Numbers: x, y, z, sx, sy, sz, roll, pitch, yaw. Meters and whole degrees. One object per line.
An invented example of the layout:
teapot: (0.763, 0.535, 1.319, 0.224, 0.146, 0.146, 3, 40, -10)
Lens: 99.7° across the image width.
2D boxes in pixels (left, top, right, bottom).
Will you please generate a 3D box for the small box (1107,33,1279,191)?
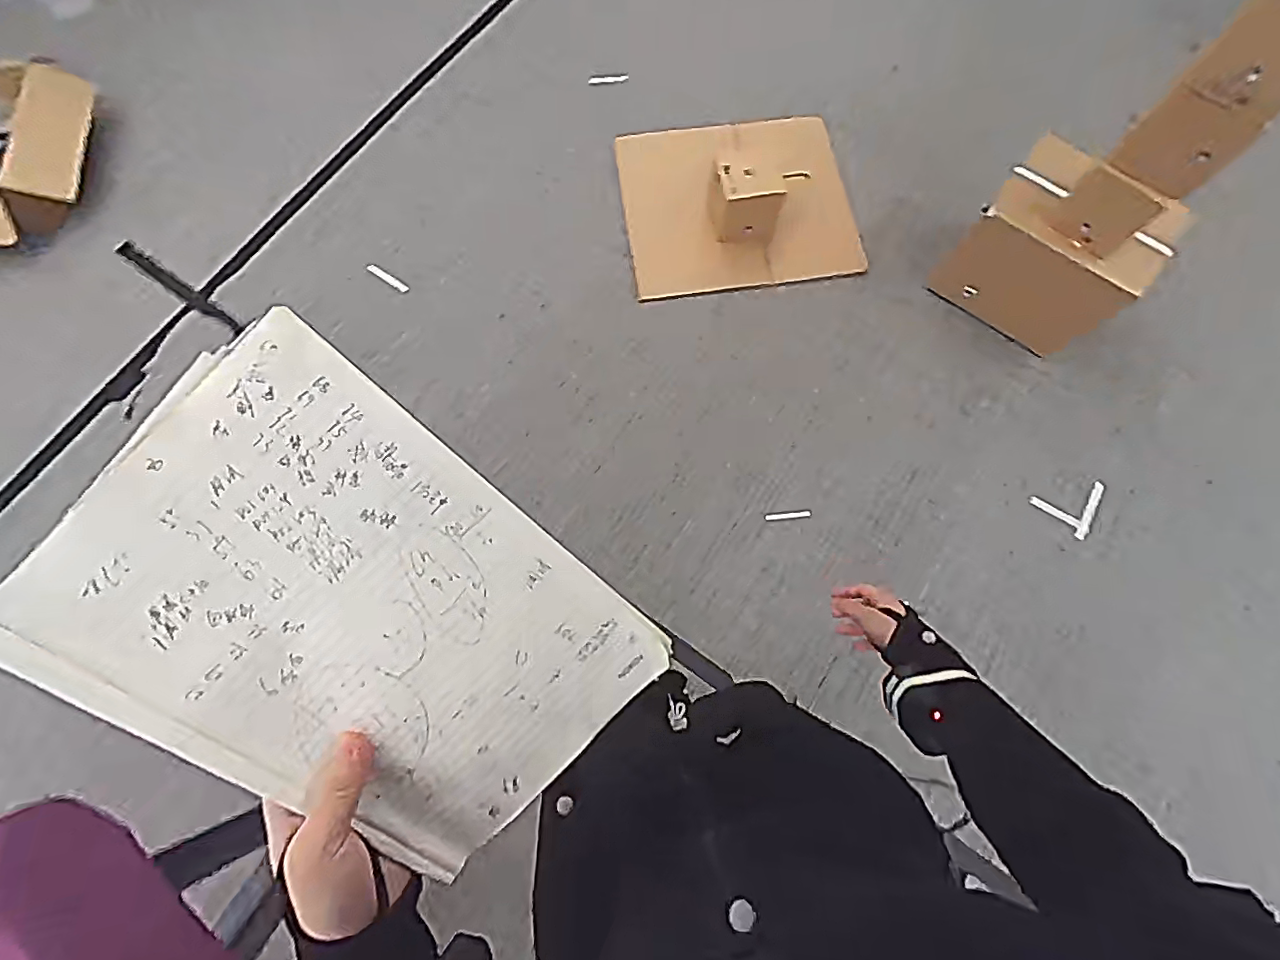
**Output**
small box: (1.097, -0.713, 1.067, 0.179, 0.176, 0.168, 36, 76, 11)

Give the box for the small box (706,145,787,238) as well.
small box: (0.305, -0.839, 1.583, 0.179, 0.176, 0.168, -10, 75, -5)

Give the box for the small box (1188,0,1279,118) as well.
small box: (1.103, -0.769, 0.912, 0.168, 0.176, 0.179, 38, 77, 10)
